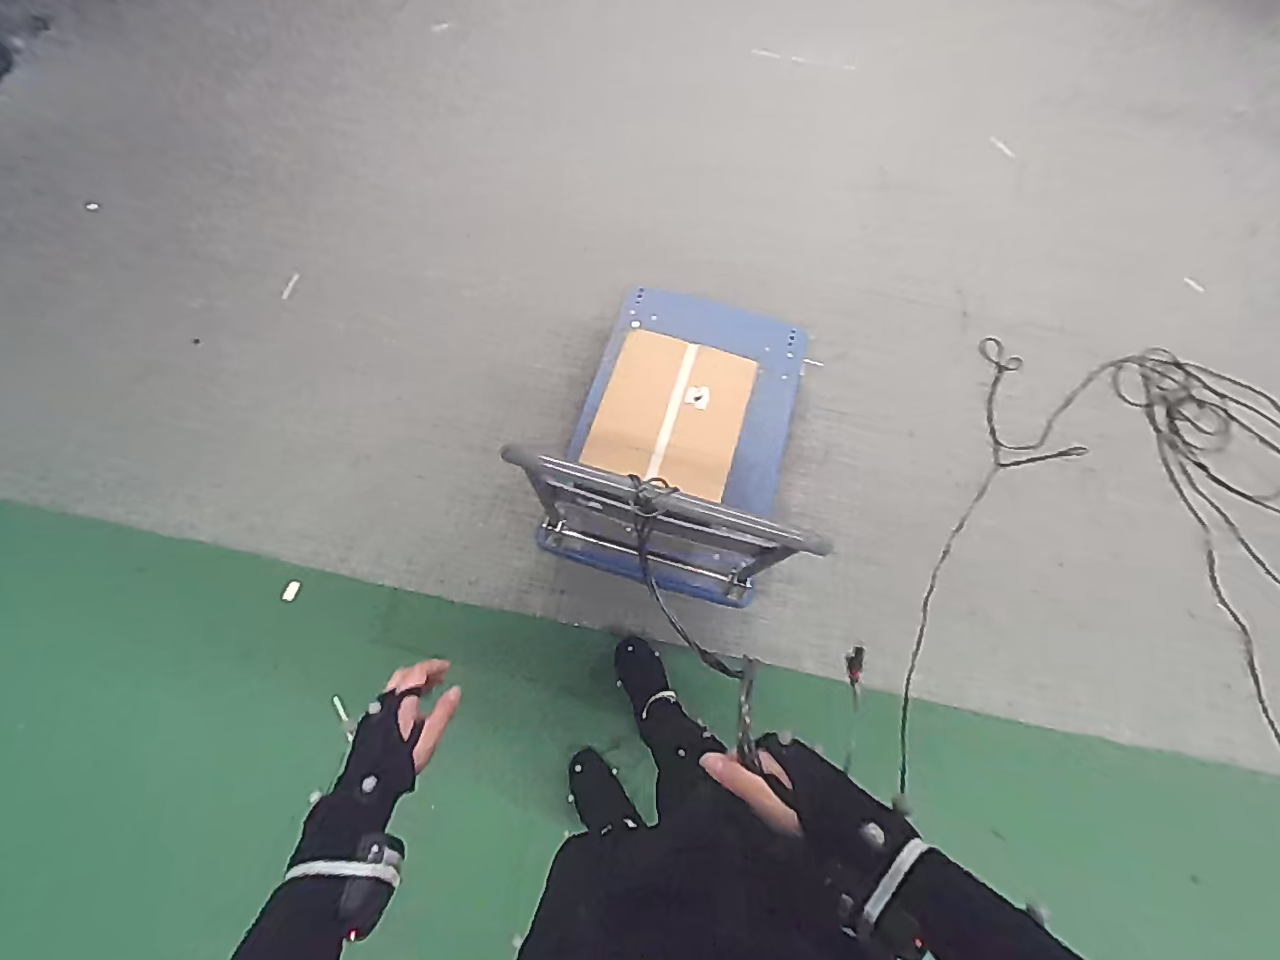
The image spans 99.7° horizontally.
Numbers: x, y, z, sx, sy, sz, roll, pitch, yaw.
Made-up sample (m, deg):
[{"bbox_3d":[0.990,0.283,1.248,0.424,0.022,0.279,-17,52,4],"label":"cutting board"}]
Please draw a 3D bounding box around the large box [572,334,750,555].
[{"bbox_3d":[0.049,-0.074,1.331,0.320,0.320,0.408,18,69,3],"label":"large box"}]
